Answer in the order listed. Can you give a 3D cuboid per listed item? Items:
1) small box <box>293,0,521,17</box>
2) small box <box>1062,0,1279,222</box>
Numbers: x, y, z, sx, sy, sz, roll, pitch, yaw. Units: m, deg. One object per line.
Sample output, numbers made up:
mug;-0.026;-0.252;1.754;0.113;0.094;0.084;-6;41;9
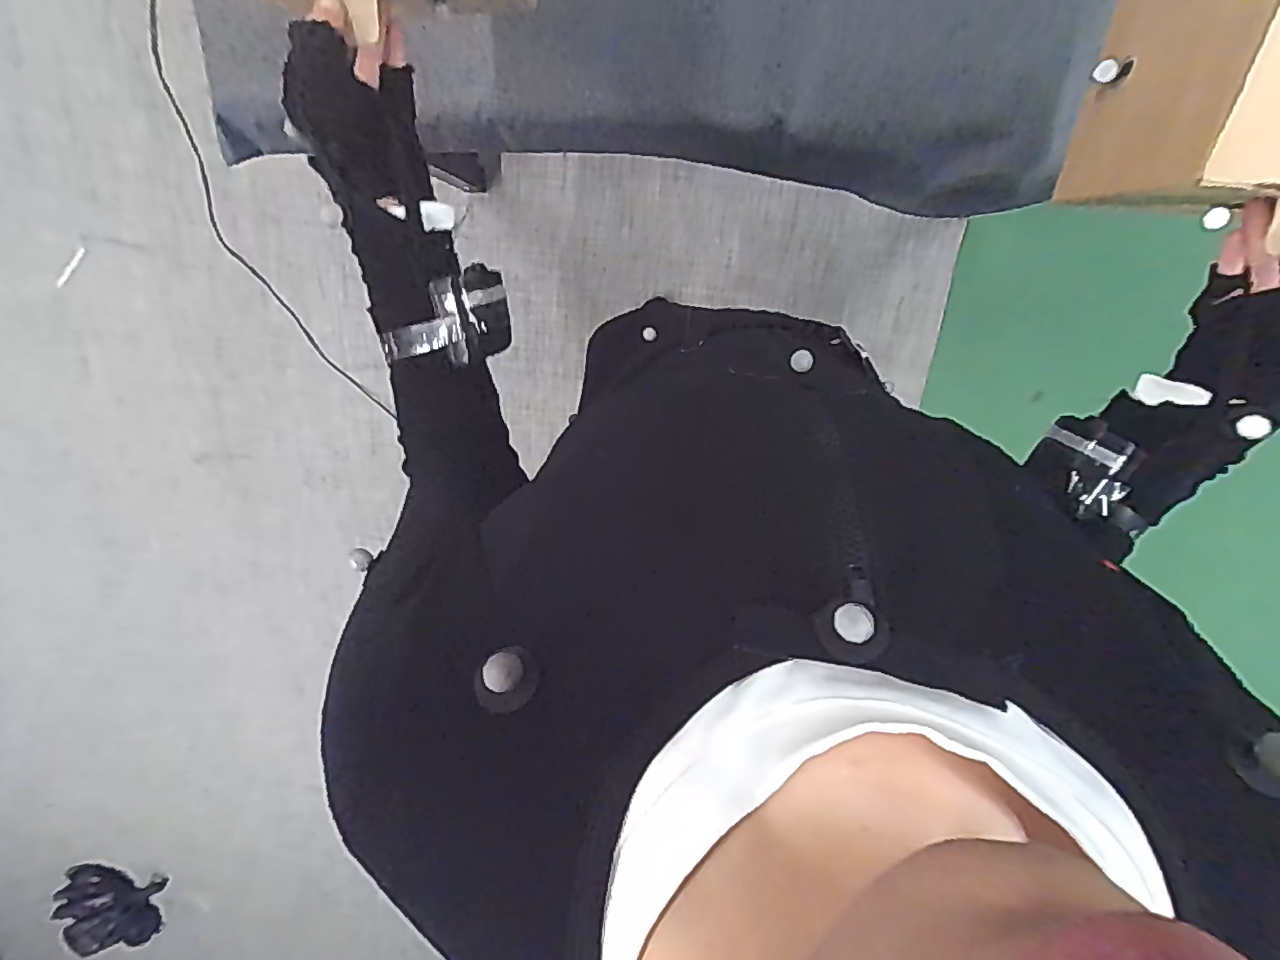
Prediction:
small box;-0.180;-0.421;0.343;0.168;0.176;0.179;1;122;8
small box;0.432;-0.273;0.359;0.168;0.176;0.179;7;115;5
